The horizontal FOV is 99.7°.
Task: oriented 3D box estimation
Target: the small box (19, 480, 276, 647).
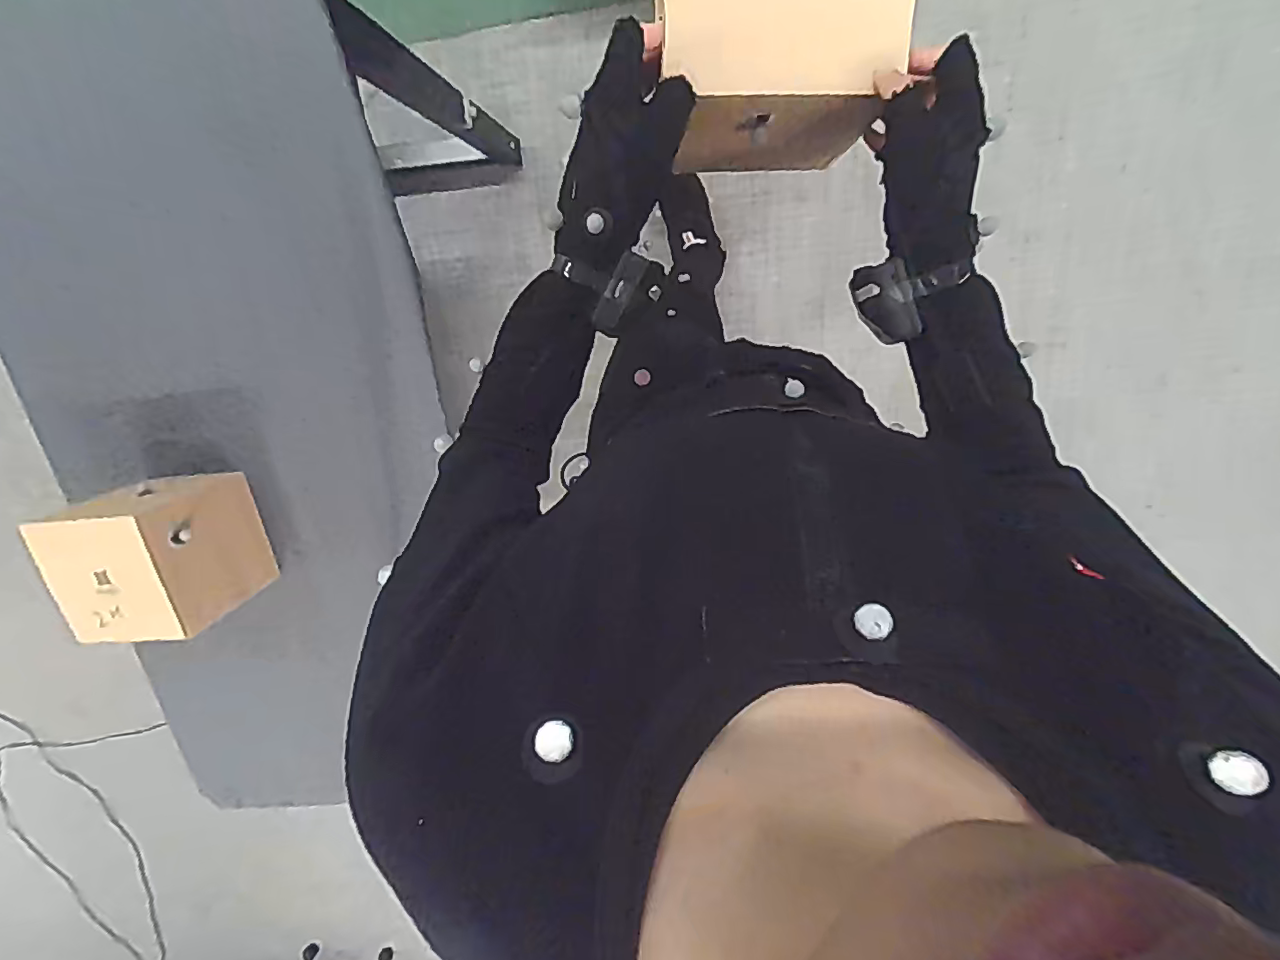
[{"bbox_3d":[-0.656,0.105,0.746,0.168,0.176,0.179,-4,109,8],"label":"small box"}]
